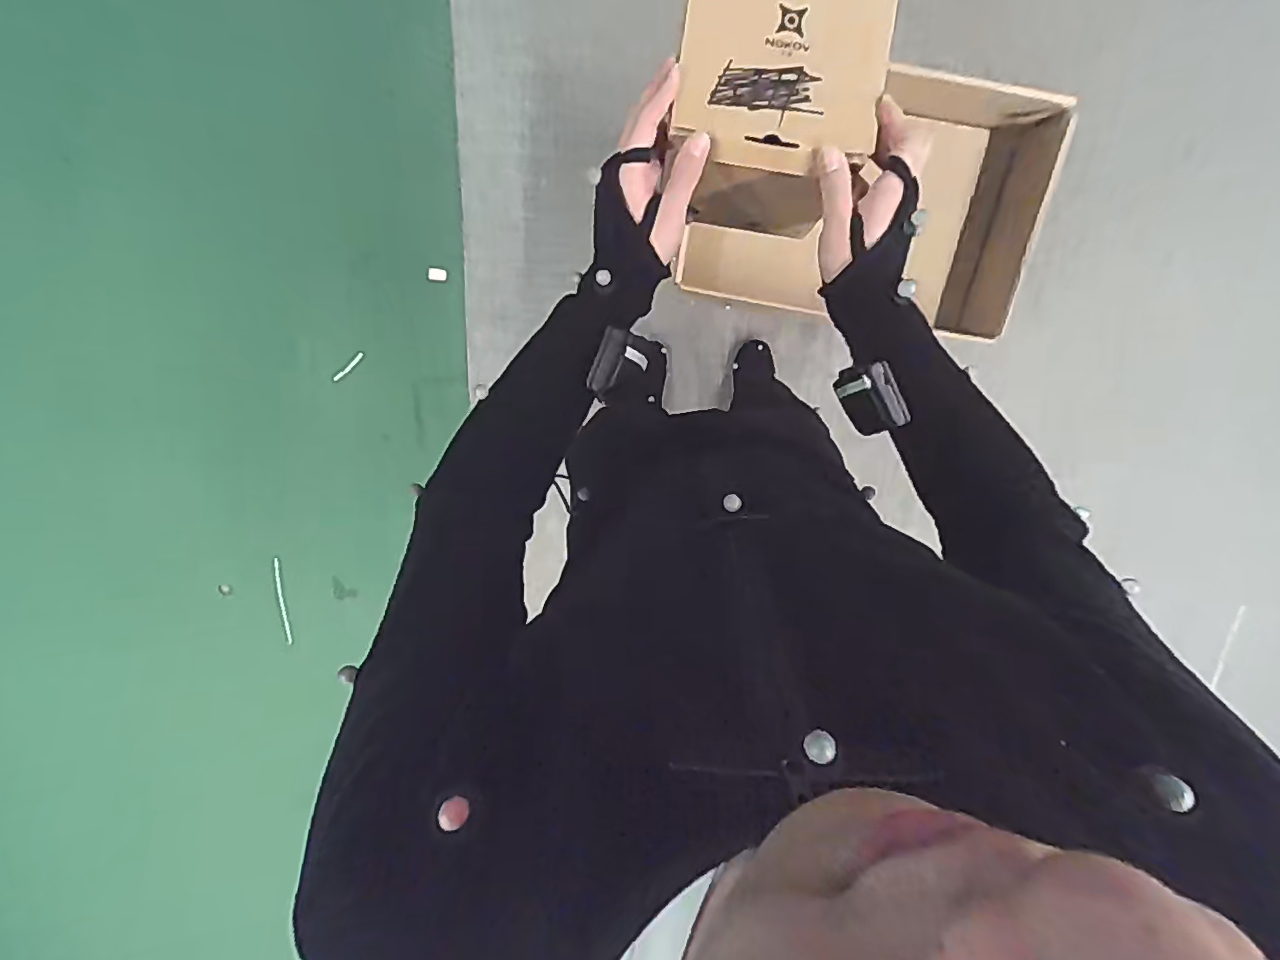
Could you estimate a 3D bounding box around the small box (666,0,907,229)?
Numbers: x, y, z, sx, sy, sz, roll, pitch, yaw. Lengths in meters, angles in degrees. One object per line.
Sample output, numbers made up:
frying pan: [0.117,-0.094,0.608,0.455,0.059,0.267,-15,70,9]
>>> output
small box: [0.118,-0.354,0.493,0.168,0.176,0.179,8,94,-2]
